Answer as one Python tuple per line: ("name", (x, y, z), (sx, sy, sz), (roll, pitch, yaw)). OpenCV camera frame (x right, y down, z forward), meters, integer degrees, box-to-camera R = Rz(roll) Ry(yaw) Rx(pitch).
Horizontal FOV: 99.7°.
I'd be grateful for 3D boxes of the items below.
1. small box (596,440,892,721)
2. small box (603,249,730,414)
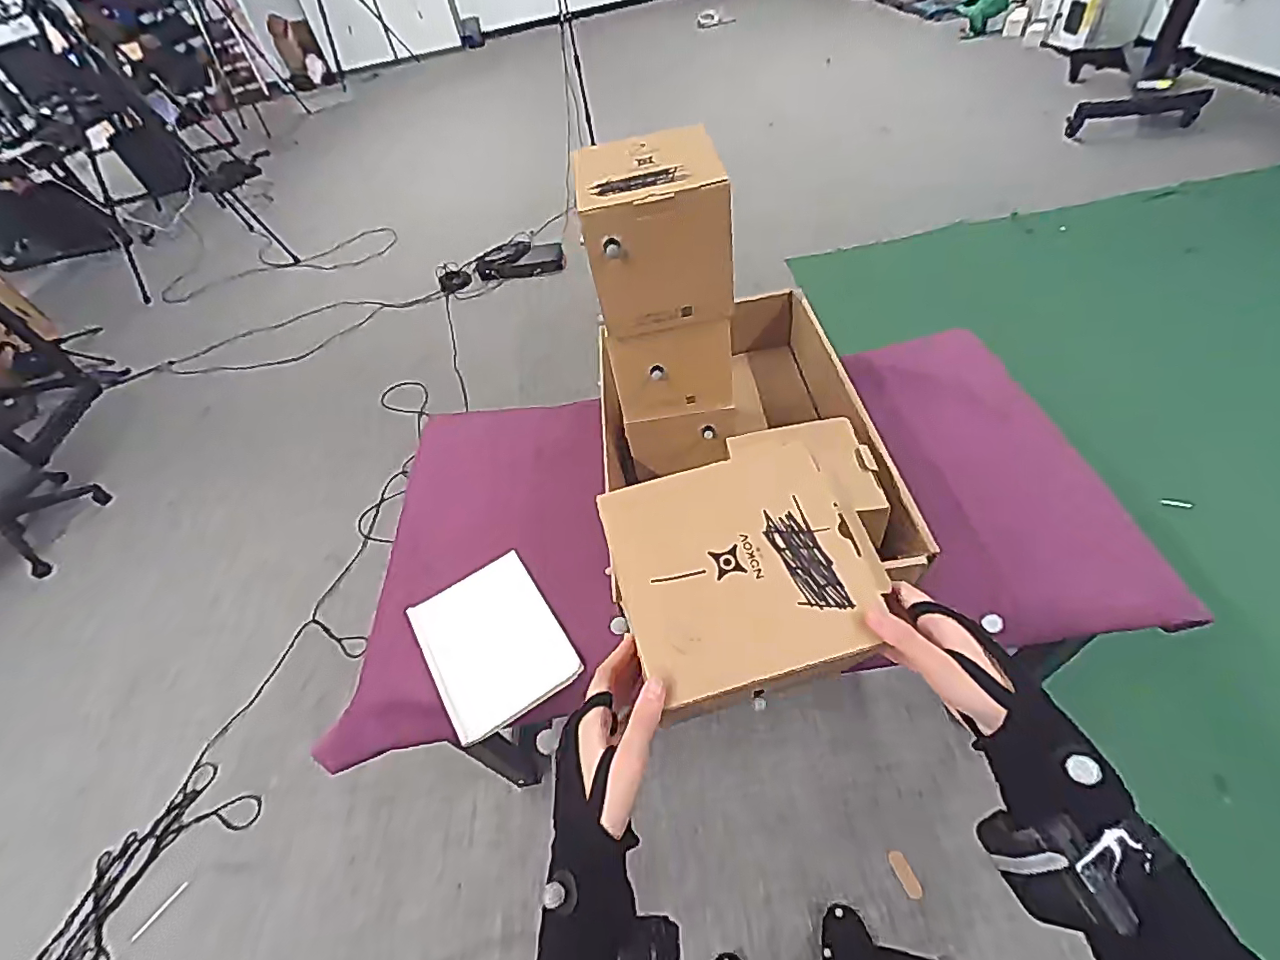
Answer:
("small box", (0.071, 0.093, 0.462), (0.179, 0.176, 0.168), (-15, 62, -5))
("small box", (0.041, -0.215, 0.817), (0.168, 0.176, 0.179), (-8, 50, 5))
